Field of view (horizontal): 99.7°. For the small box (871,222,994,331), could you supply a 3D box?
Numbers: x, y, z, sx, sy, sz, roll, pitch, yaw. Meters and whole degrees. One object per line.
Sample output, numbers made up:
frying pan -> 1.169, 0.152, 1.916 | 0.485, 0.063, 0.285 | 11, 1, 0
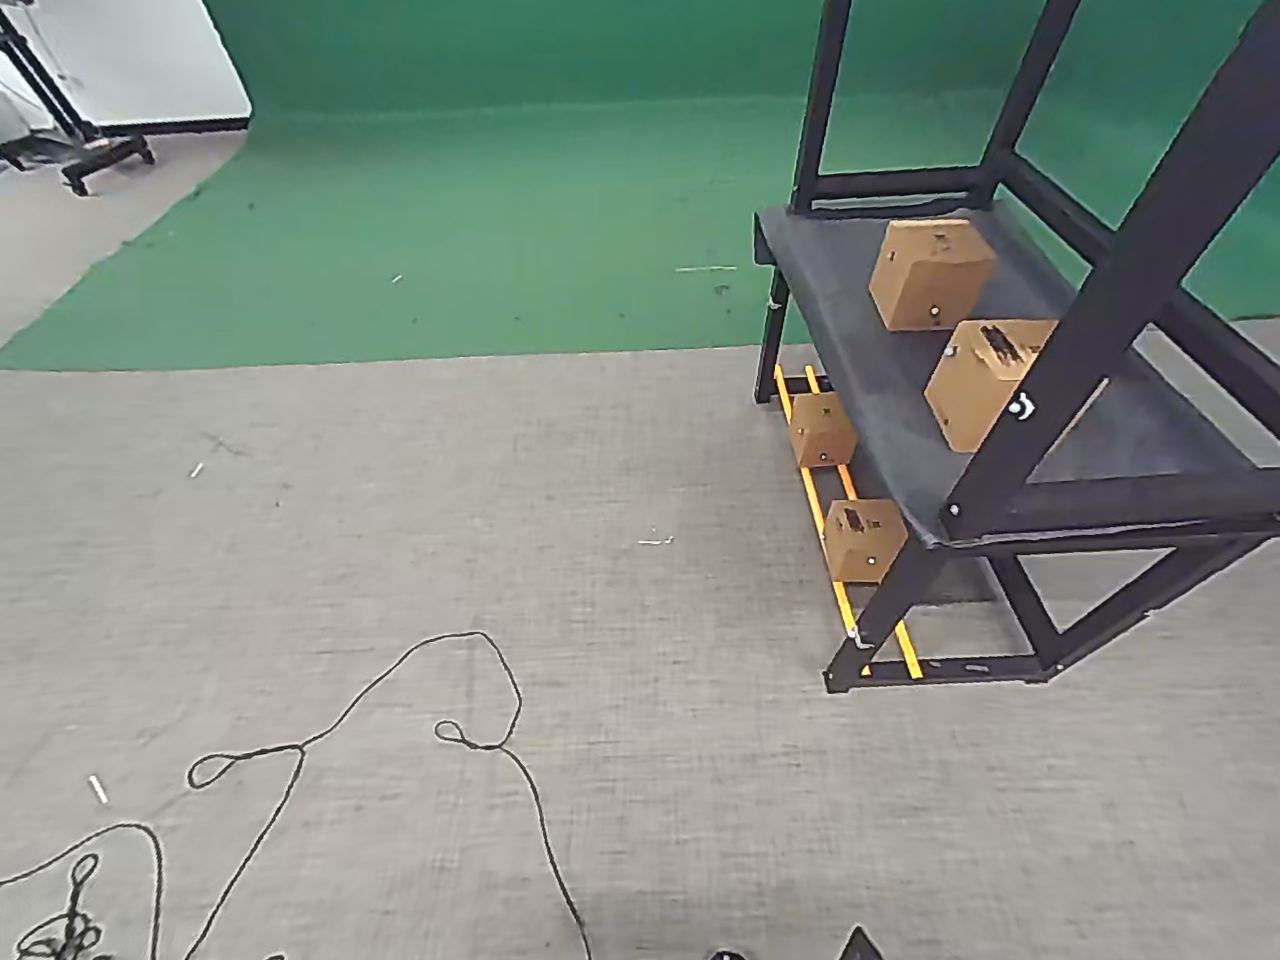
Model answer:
small box -> 0.634, -0.452, 1.201 | 0.168, 0.176, 0.179 | 0, 50, 3

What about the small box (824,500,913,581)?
small box -> 0.618, 0.169, 1.496 | 0.179, 0.176, 0.168 | 0, 50, 3
